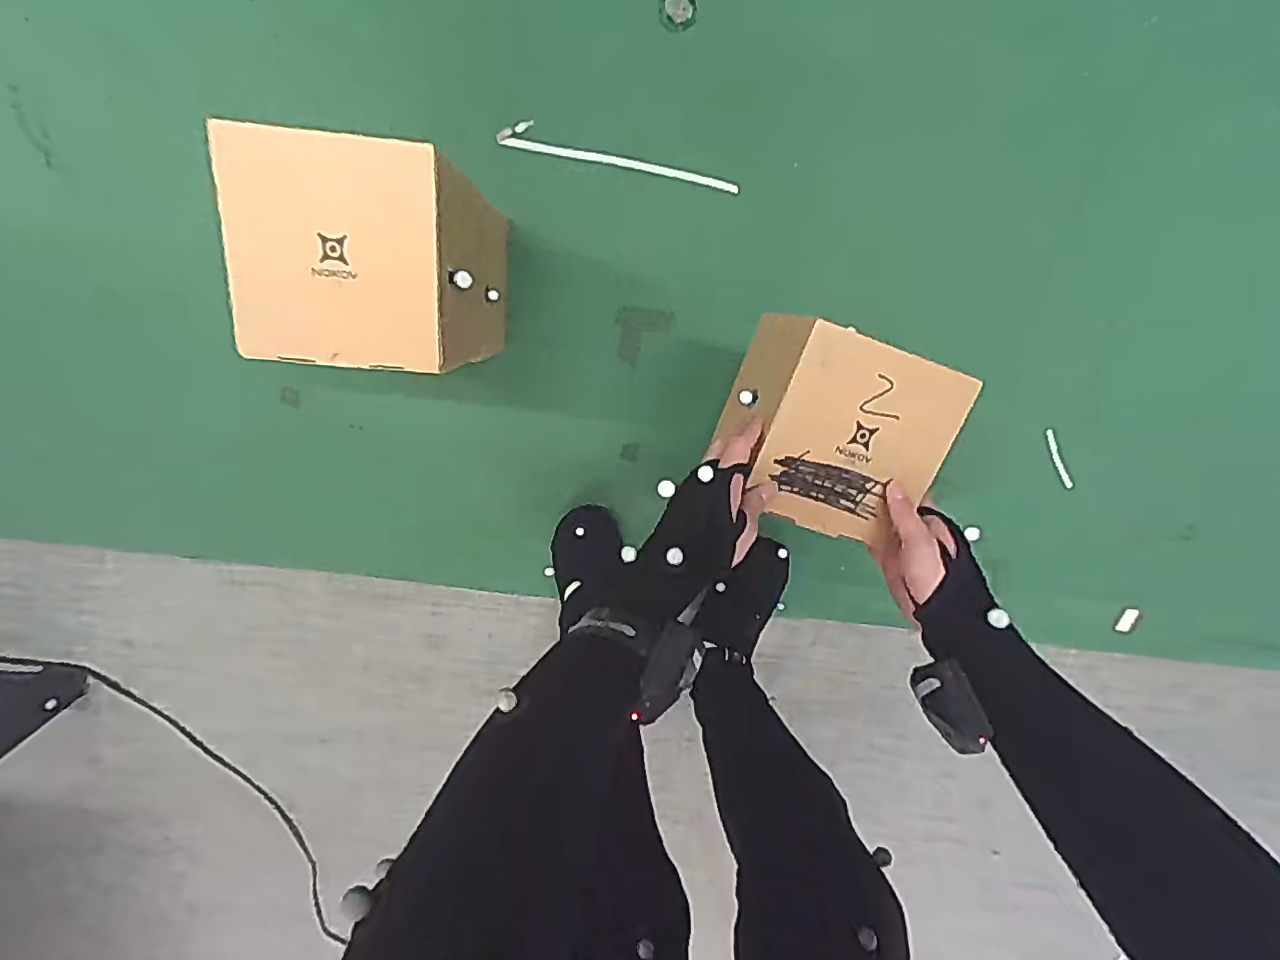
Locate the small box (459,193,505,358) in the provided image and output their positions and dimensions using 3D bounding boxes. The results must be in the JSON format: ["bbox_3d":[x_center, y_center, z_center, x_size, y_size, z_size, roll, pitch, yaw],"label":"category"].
[{"bbox_3d":[-0.264,-0.255,0.659,0.168,0.176,0.179,5,108,-5],"label":"small box"}]

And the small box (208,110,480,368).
[{"bbox_3d":[-0.250,-0.209,0.504,0.168,0.176,0.179,4,109,-5],"label":"small box"}]
